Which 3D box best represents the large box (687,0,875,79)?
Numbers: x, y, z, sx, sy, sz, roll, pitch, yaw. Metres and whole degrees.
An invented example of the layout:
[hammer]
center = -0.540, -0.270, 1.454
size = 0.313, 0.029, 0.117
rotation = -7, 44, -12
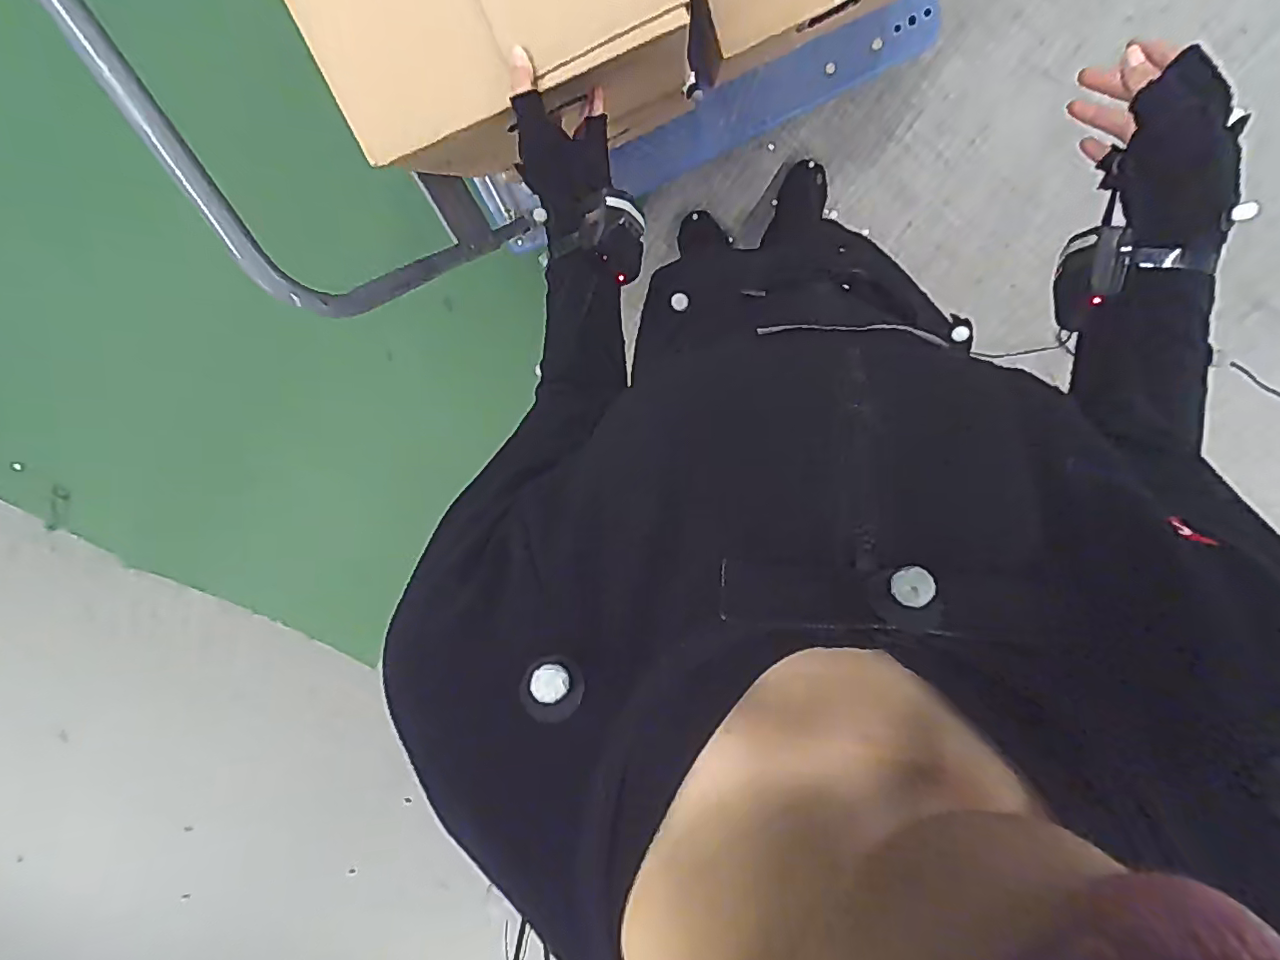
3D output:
[large box]
center = 0.182, -0.843, 0.716
size = 0.320, 0.320, 0.408
rotation = -17, 118, 14
